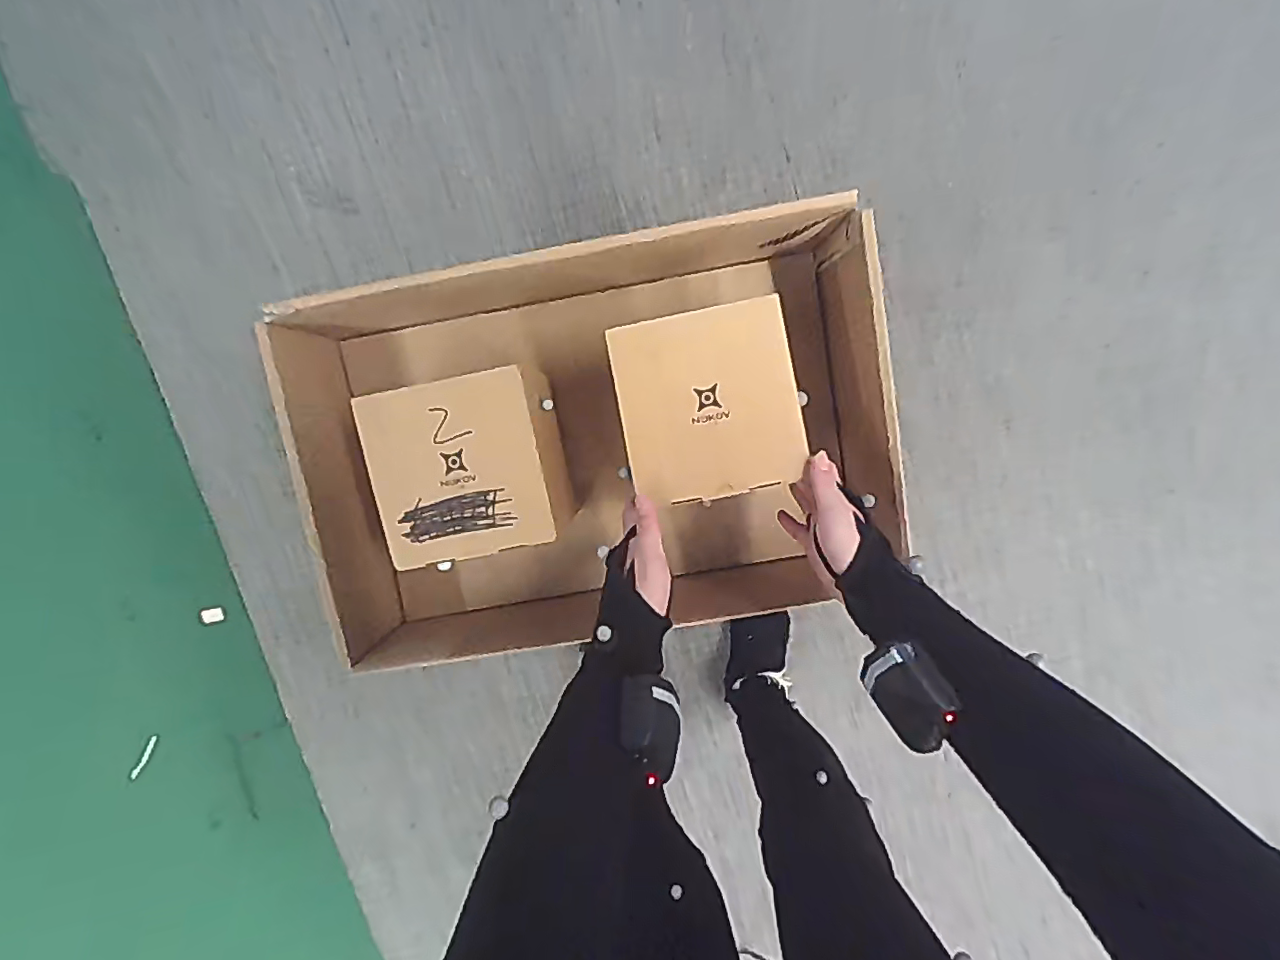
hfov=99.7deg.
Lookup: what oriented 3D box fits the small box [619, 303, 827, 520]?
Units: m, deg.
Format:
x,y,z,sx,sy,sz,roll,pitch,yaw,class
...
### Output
x,y,z,sx,sy,sz,roll,pitch,yaw,class
0.076,-0.061,0.568,0.168,0.176,0.179,-11,90,3,small box
